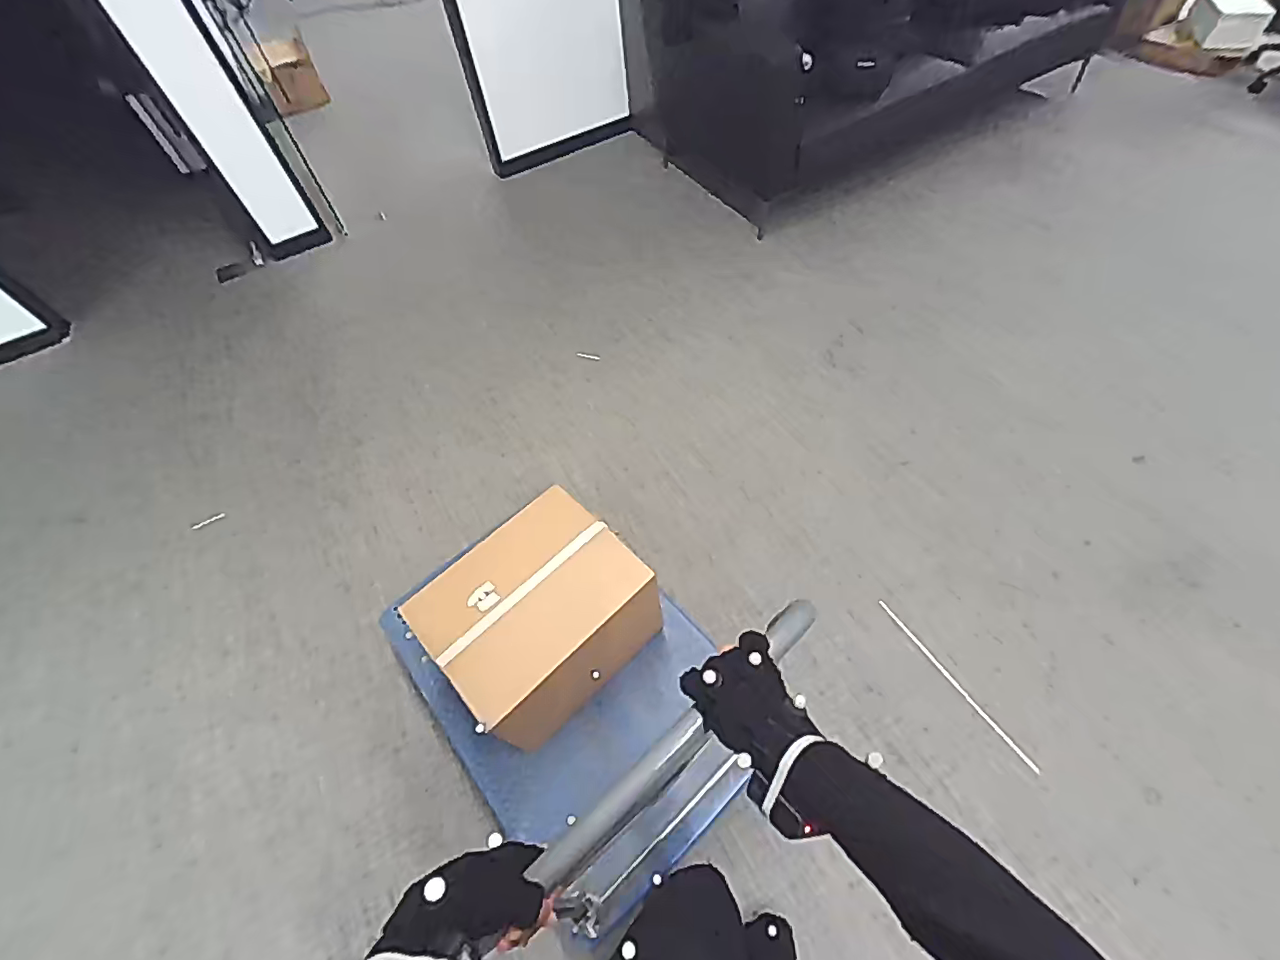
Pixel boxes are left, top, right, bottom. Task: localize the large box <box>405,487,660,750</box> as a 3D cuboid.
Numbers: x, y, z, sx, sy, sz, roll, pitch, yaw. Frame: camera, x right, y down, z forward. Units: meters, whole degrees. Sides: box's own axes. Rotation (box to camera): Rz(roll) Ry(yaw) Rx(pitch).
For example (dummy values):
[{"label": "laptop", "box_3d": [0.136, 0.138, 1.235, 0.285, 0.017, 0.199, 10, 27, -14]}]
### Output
[{"label": "large box", "box_3d": [-0.202, 0.300, 1.174, 0.408, 0.320, 0.320, -41, 62, -19]}]
